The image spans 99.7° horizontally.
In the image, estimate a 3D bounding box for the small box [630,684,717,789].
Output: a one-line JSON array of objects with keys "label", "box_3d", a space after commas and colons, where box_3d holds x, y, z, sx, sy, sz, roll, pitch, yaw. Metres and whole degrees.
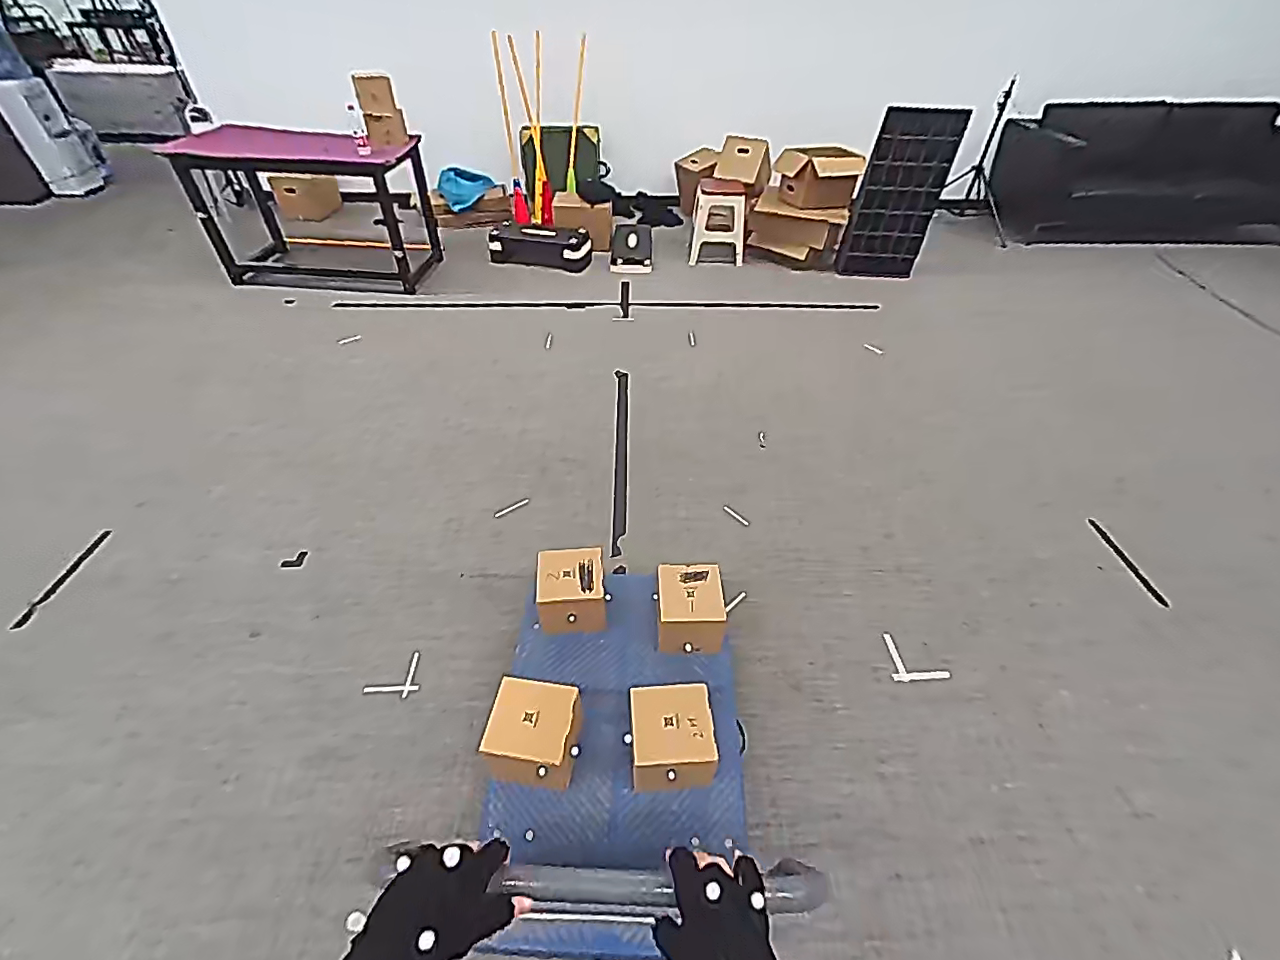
[{"label": "small box", "box_3d": [0.070, 0.582, 1.222, 0.179, 0.176, 0.168, -2, 44, -3]}]

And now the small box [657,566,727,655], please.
[{"label": "small box", "box_3d": [0.133, 0.352, 1.464, 0.168, 0.176, 0.179, 0, 45, -1]}]

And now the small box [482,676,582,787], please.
[{"label": "small box", "box_3d": [-0.235, 0.572, 1.225, 0.179, 0.176, 0.168, 7, 43, 4]}]
